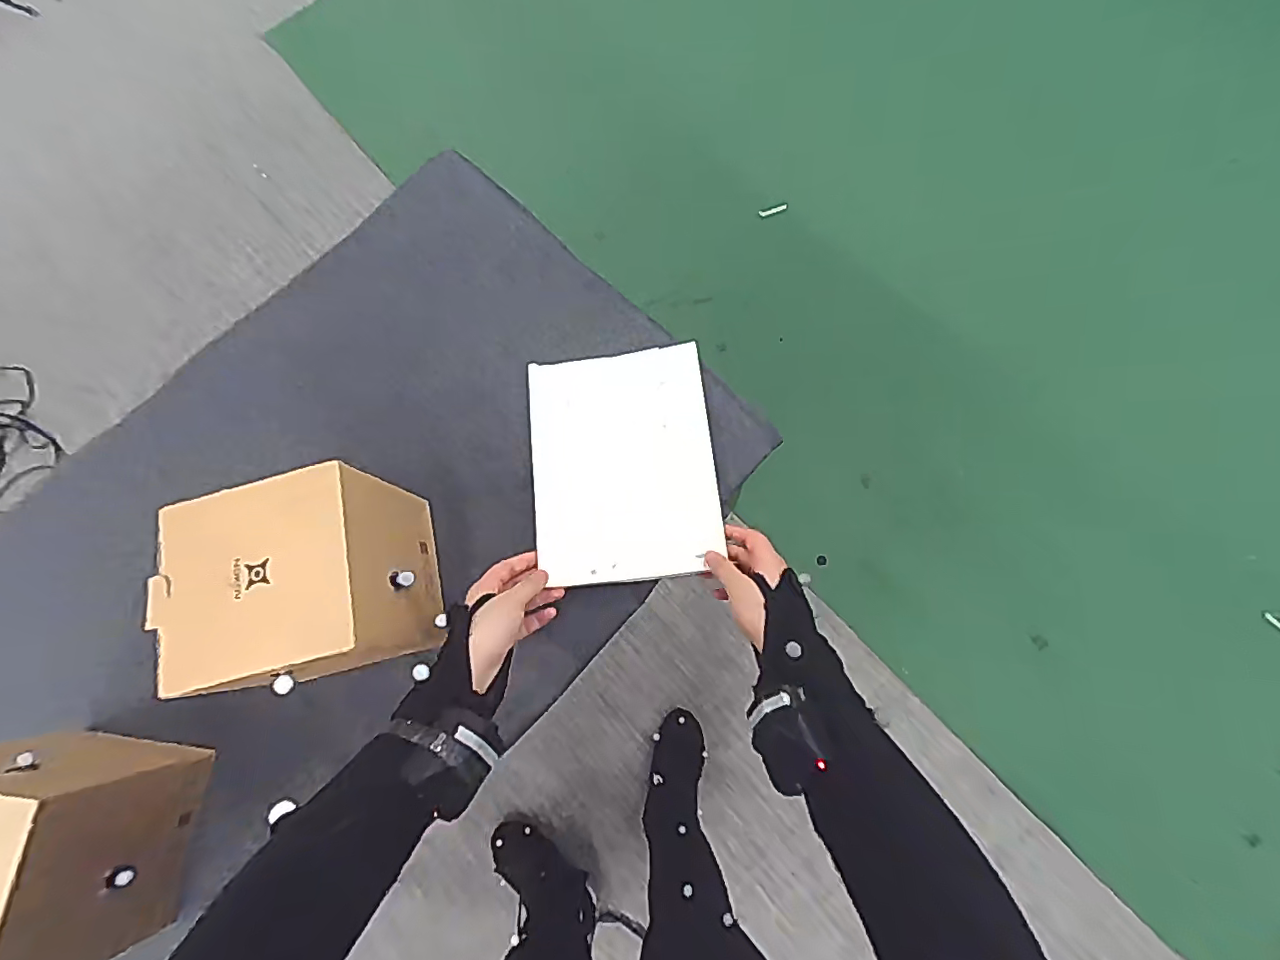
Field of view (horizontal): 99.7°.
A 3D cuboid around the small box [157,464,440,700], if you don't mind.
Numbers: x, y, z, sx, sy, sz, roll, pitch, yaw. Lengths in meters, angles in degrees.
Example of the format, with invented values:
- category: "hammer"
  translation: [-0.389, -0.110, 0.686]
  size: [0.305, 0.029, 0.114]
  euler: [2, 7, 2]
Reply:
- category: "small box"
  translation: [-0.315, 0.100, 0.532]
  size: [0.179, 0.176, 0.168]
  euler: [-15, 75, 3]

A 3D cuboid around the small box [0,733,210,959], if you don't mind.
- category: "small box"
  translation: [-0.555, 0.344, 0.497]
  size: [0.179, 0.176, 0.168]
  euler: [4, 76, 7]
